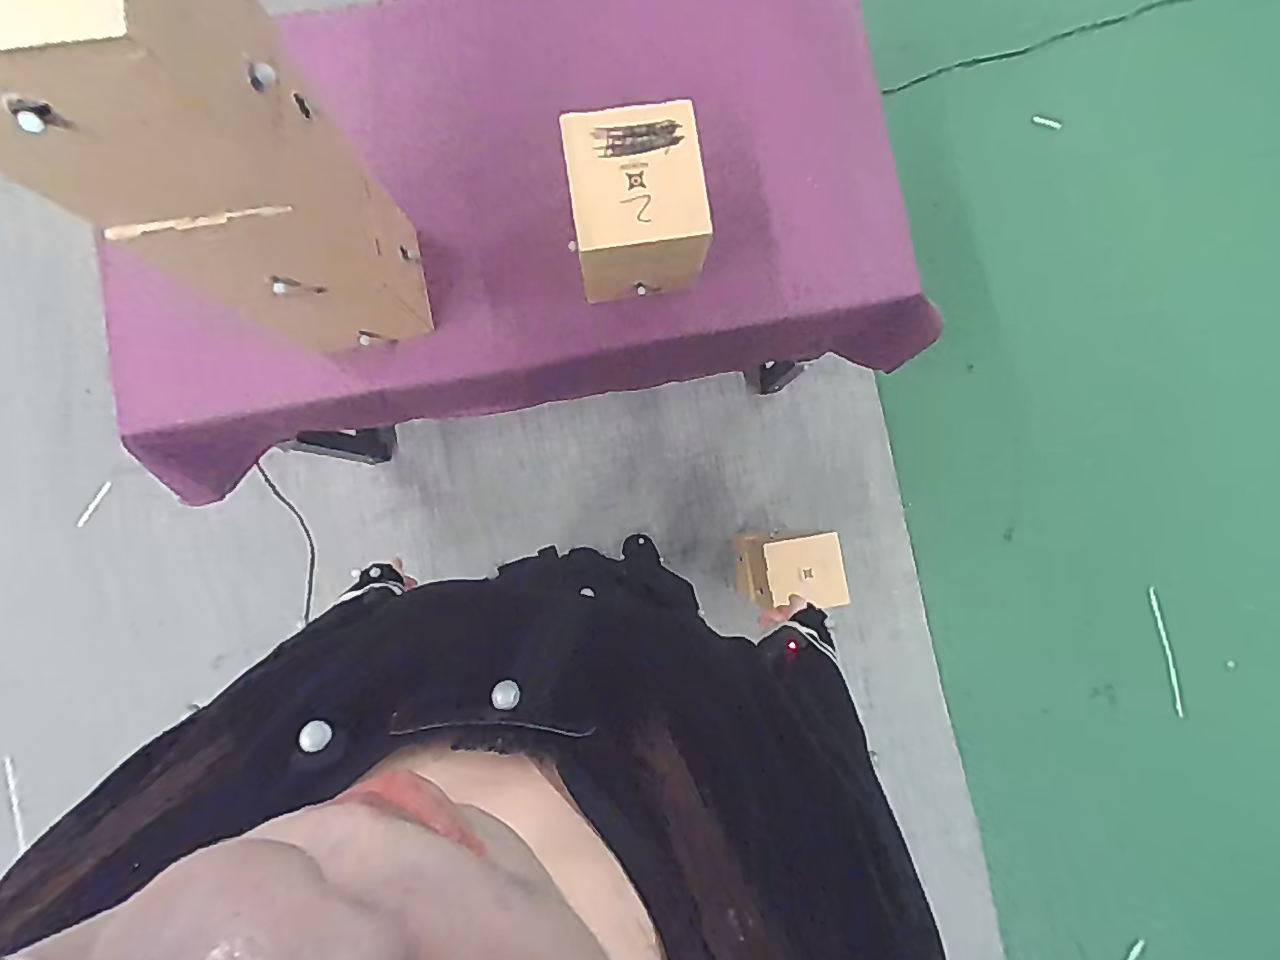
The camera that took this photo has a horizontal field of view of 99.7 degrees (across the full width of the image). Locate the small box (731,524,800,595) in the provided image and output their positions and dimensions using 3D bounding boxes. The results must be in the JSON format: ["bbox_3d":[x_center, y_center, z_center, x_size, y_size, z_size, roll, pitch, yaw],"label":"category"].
[{"bbox_3d":[0.346,0.210,1.454,0.179,0.176,0.168,-6,87,-3],"label":"small box"}]

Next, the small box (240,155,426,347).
[{"bbox_3d":[-0.403,-0.293,0.724,0.179,0.176,0.168,-12,87,-3],"label":"small box"}]

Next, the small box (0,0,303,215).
[{"bbox_3d":[-0.388,-0.319,0.395,0.179,0.176,0.168,-8,87,-3],"label":"small box"}]

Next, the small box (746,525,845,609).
[{"bbox_3d":[0.361,0.202,1.291,0.179,0.176,0.168,-9,88,-3],"label":"small box"}]
